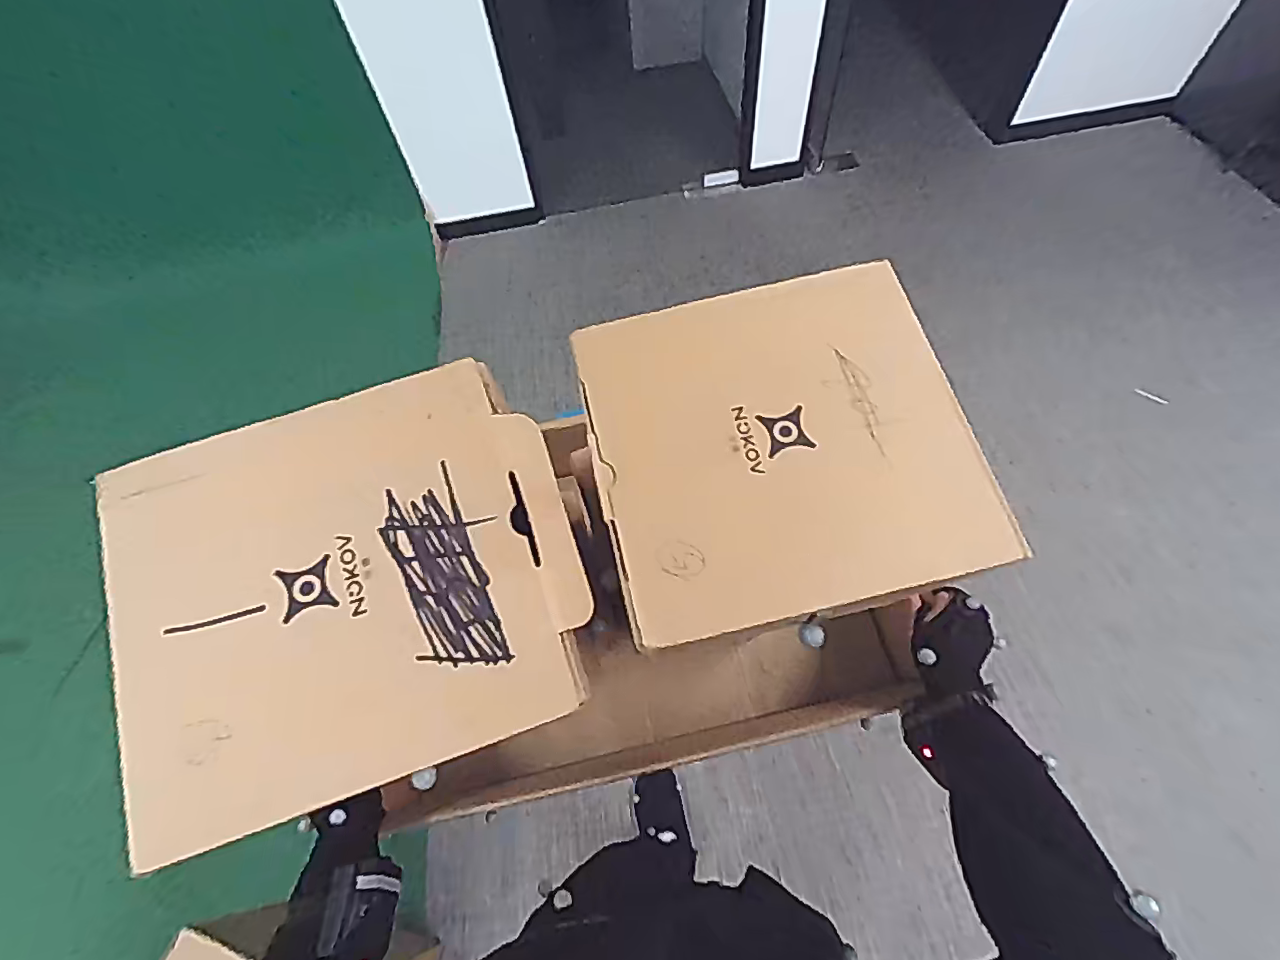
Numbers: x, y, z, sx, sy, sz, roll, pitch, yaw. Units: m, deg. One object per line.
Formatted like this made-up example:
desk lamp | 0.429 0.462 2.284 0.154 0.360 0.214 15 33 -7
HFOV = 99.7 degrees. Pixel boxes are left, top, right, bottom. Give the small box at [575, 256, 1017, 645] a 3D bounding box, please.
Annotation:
small box | 0.070 -0.001 0.337 0.179 0.176 0.168 -13 69 -2
